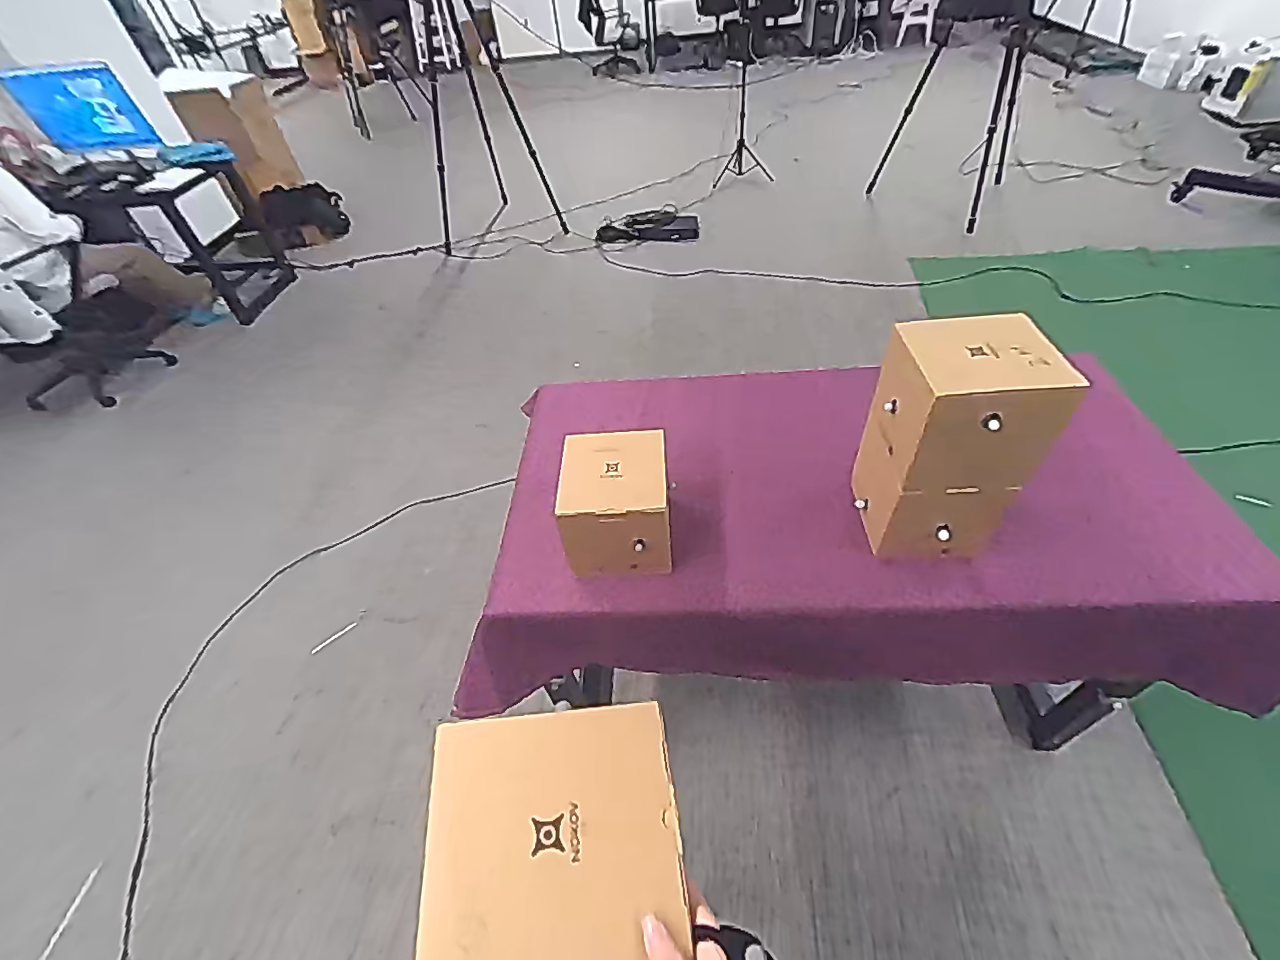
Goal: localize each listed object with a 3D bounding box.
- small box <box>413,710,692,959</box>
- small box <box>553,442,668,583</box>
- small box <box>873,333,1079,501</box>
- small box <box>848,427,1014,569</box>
[{"bbox_3d":[-0.068,0.304,0.440,0.179,0.176,0.168,-2,51,-9],"label":"small box"},{"bbox_3d":[-0.039,0.059,0.895,0.168,0.176,0.179,-2,45,3],"label":"small box"},{"bbox_3d":[0.439,-0.084,0.749,0.179,0.176,0.168,-2,46,4],"label":"small box"},{"bbox_3d":[0.450,0.030,0.869,0.168,0.176,0.179,-1,46,5],"label":"small box"}]
